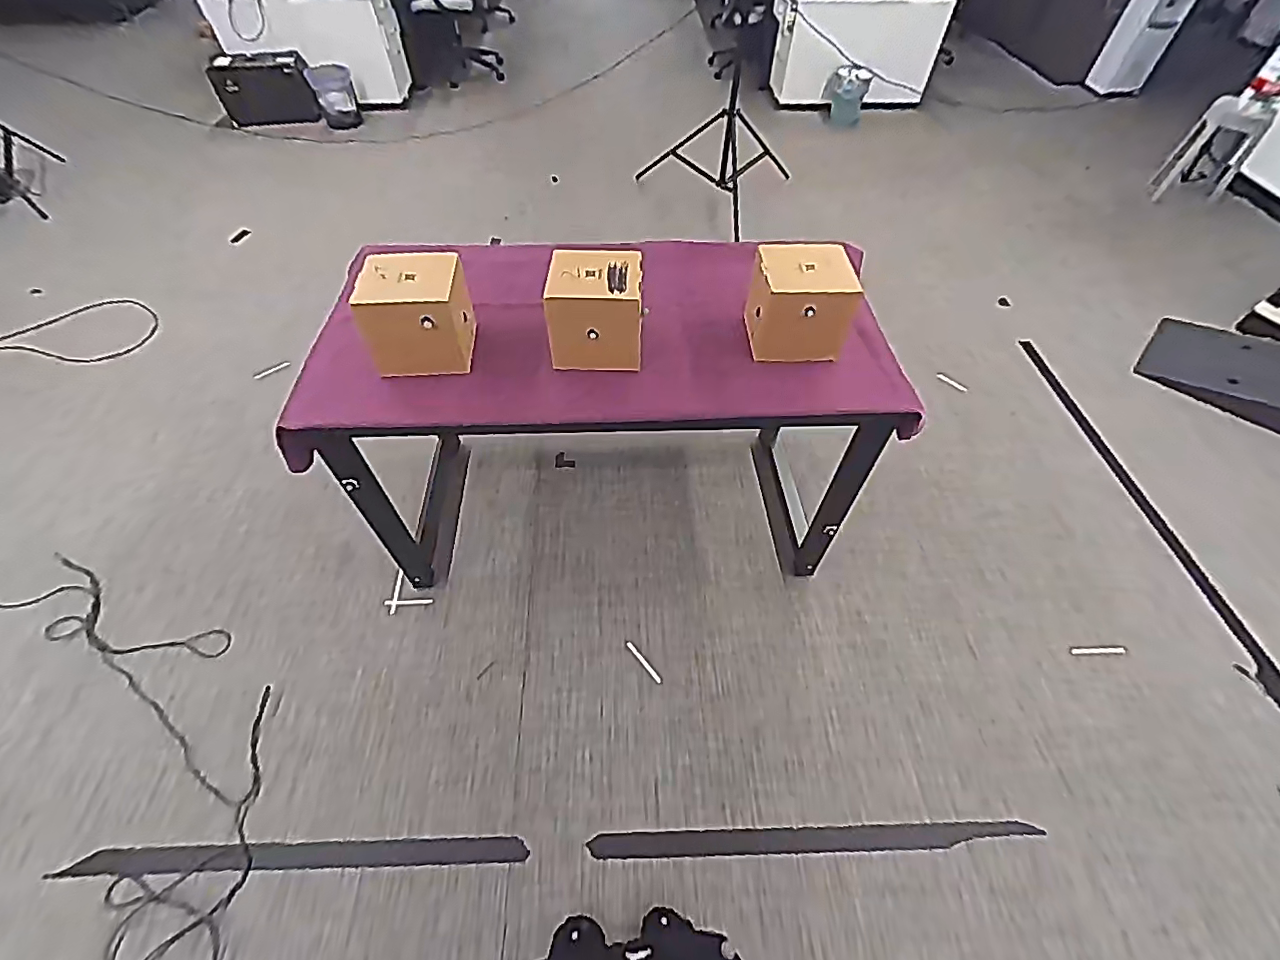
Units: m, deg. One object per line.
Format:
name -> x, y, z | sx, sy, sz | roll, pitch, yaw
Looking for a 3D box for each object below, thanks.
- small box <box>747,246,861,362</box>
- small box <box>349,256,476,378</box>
small box -> 0.320, -0.356, 1.104 | 0.179, 0.176, 0.168 | 0, 53, -2
small box -> -0.430, -0.317, 1.059 | 0.179, 0.176, 0.168 | -4, 51, -4
